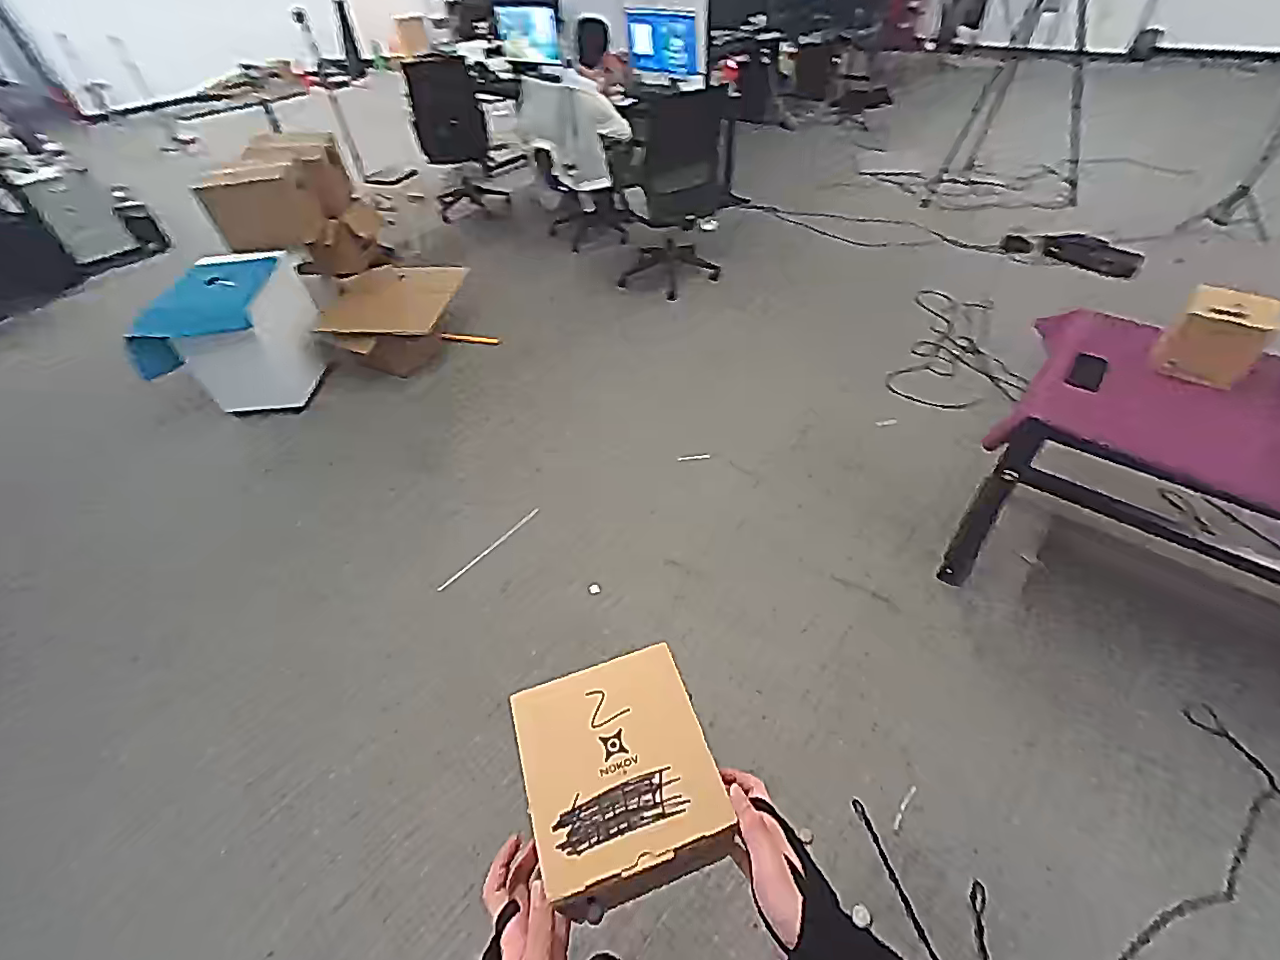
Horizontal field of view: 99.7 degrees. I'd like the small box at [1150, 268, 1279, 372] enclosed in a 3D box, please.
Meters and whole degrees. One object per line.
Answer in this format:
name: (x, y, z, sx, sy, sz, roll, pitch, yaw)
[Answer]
small box: (1.426, -0.396, 1.346, 0.168, 0.176, 0.179, 29, 55, 29)
